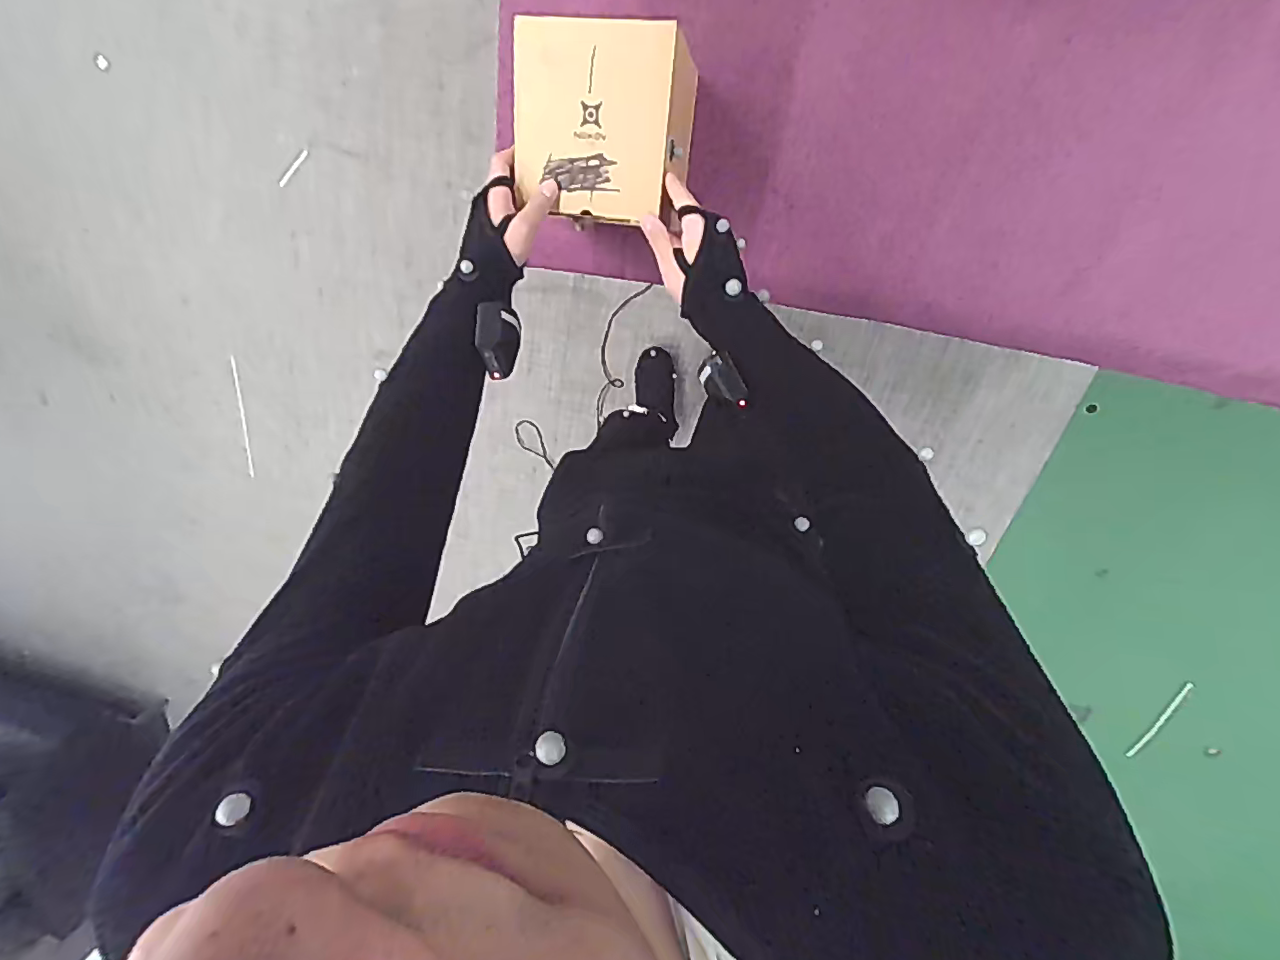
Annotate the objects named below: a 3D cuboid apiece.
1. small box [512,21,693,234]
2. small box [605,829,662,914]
[{"bbox_3d":[-0.036,-0.387,0.624,0.168,0.176,0.179,10,114,8],"label":"small box"},{"bbox_3d":[-0.020,1.448,2.005,0.168,0.176,0.179,14,116,7],"label":"small box"}]
